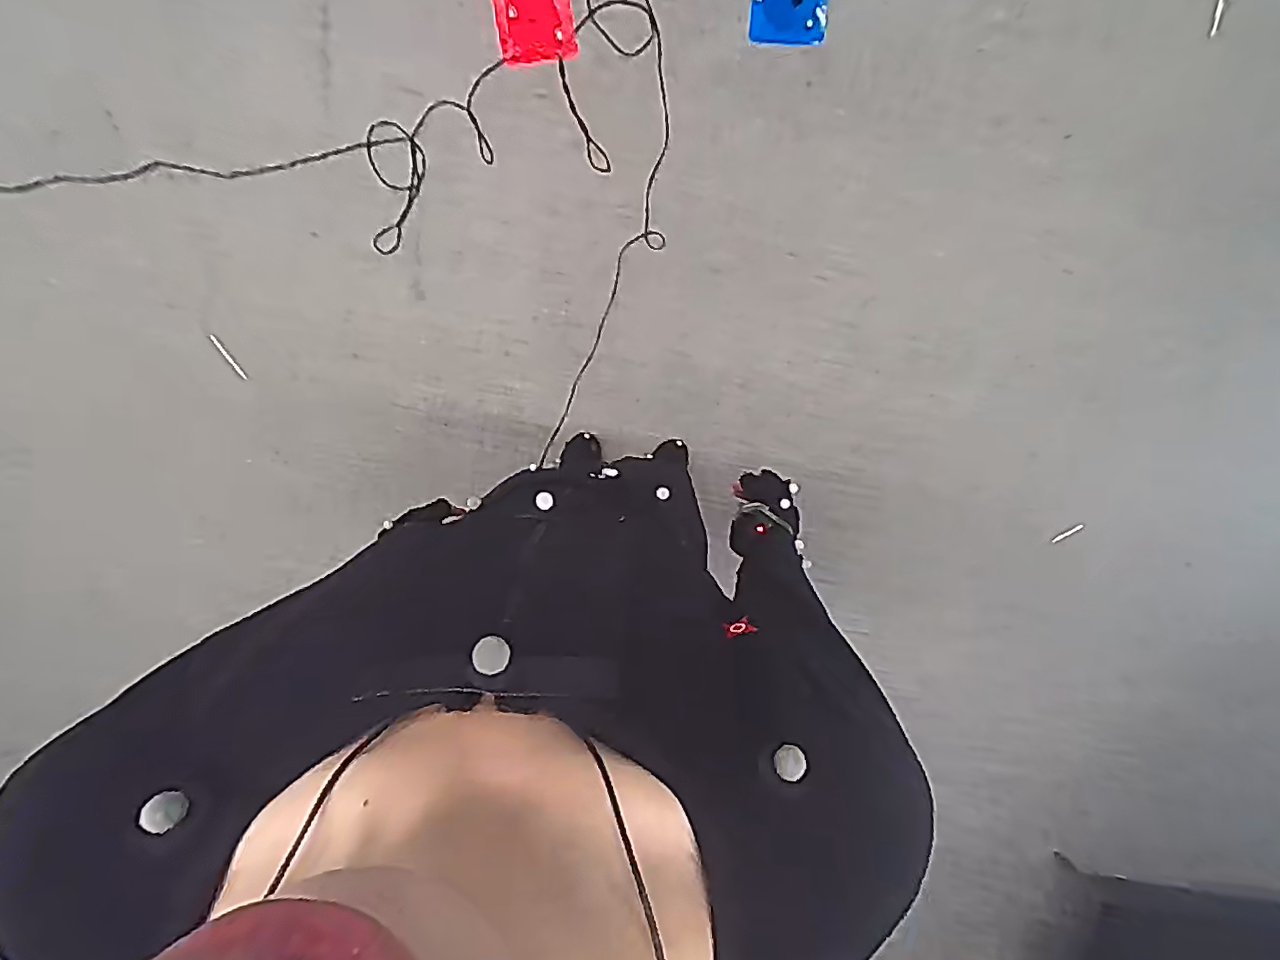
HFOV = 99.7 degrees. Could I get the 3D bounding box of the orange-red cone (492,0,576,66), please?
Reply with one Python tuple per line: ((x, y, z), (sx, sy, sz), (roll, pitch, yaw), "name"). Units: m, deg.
((-0.270, -1.167, 1.224), (0.198, 0.360, 0.199), (-9, 94, -1), "orange-red cone")
